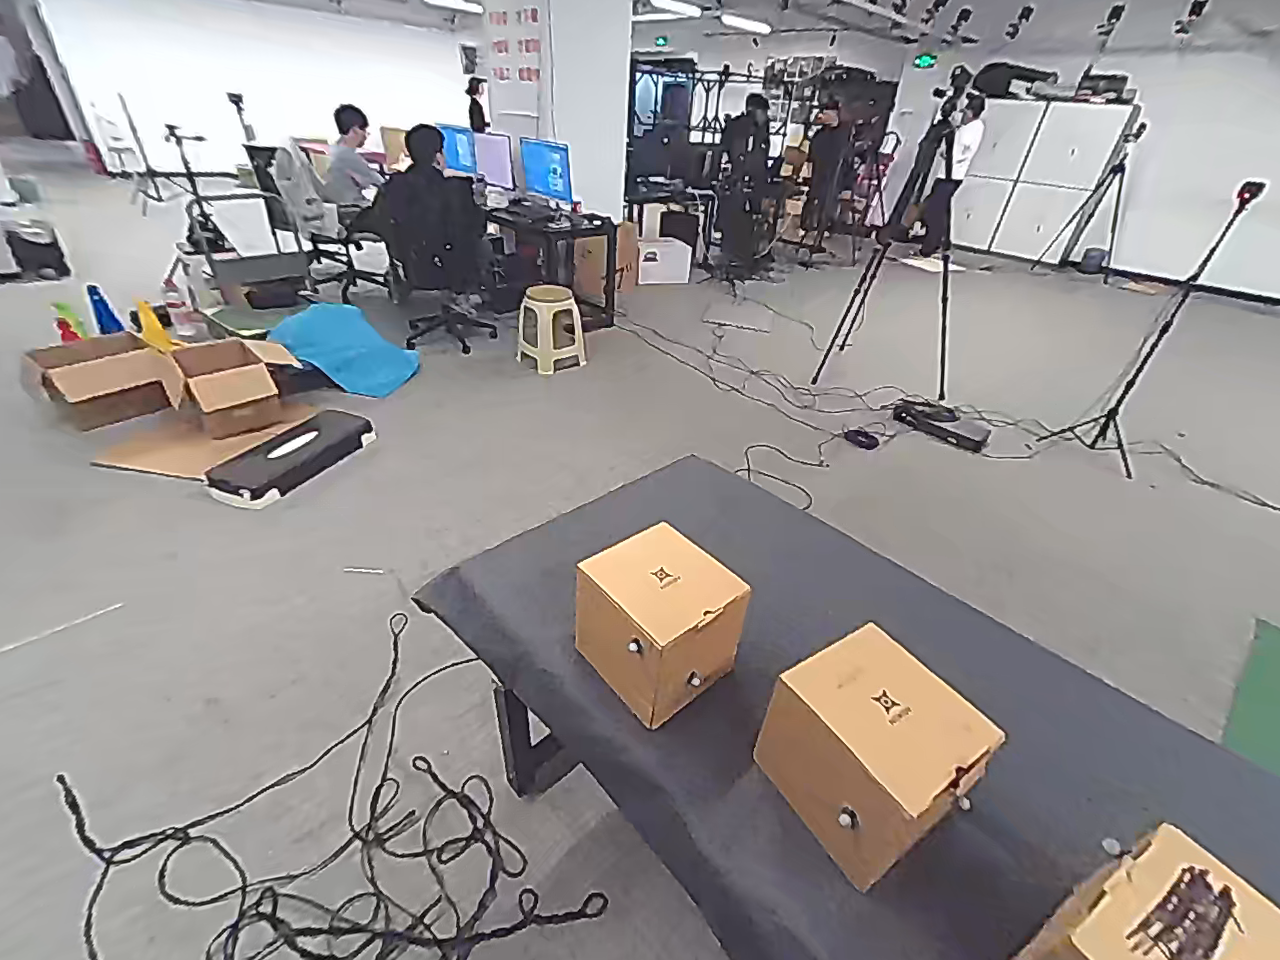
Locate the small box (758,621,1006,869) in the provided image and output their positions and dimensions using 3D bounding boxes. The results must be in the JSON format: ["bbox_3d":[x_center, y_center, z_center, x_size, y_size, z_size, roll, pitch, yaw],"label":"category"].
[{"bbox_3d":[0.263,0.305,0.625,0.168,0.176,0.179,-16,38,-29],"label":"small box"}]

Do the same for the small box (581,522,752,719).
[{"bbox_3d":[0.027,0.194,0.766,0.168,0.176,0.179,-23,43,-35],"label":"small box"}]
